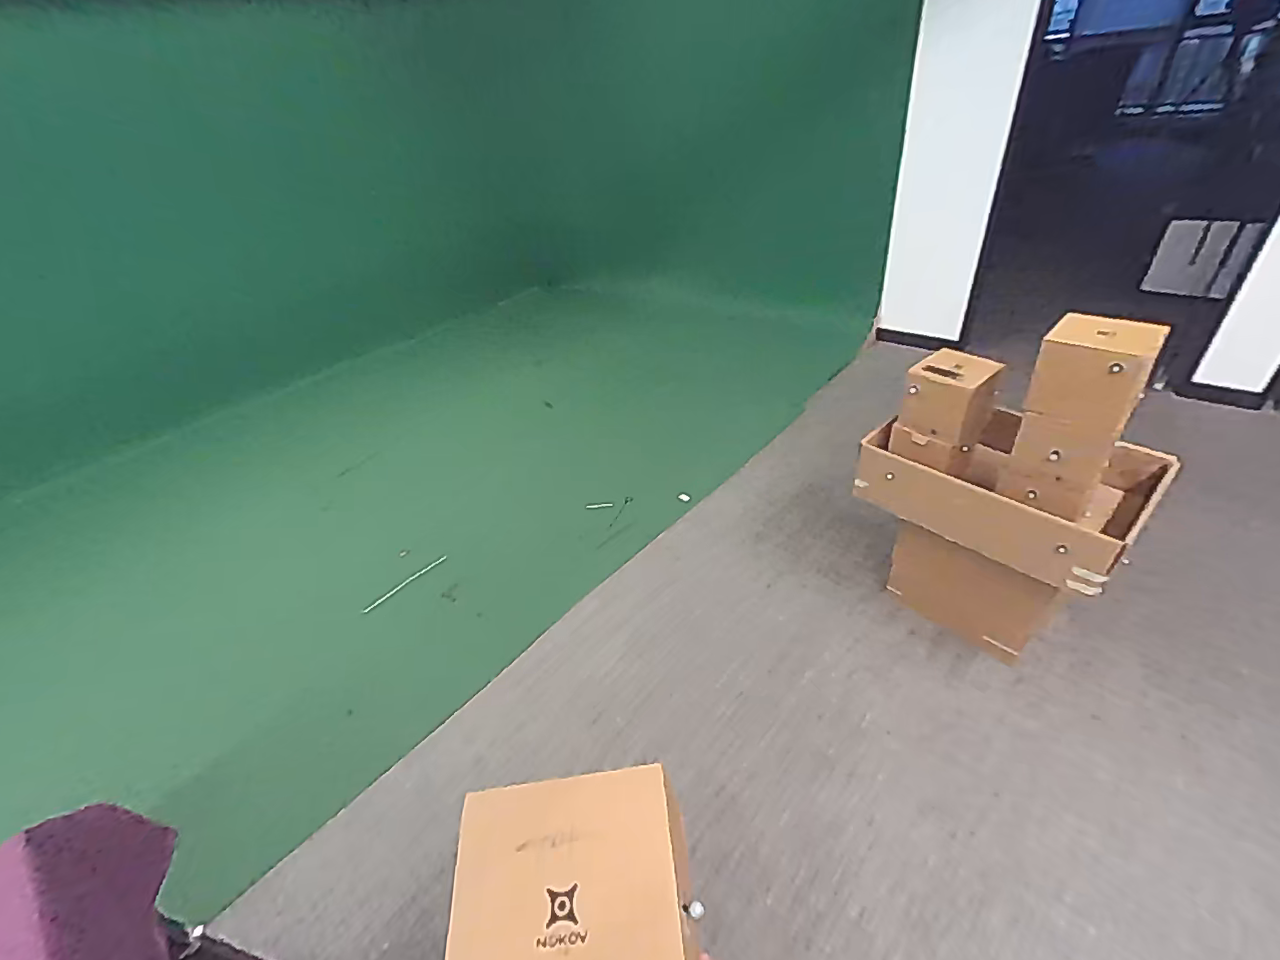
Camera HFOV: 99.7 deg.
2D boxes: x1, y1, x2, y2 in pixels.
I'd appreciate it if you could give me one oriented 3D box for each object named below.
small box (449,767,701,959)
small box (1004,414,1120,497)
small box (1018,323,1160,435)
[{"bbox_3d":[-0.041,0.361,0.439,0.168,0.176,0.179,-9,45,2],"label":"small box"},{"bbox_3d":[0.977,-0.087,1.255,0.179,0.176,0.168,-36,44,-30],"label":"small box"},{"bbox_3d":[0.952,-0.218,1.160,0.168,0.176,0.179,-34,44,-30],"label":"small box"}]
